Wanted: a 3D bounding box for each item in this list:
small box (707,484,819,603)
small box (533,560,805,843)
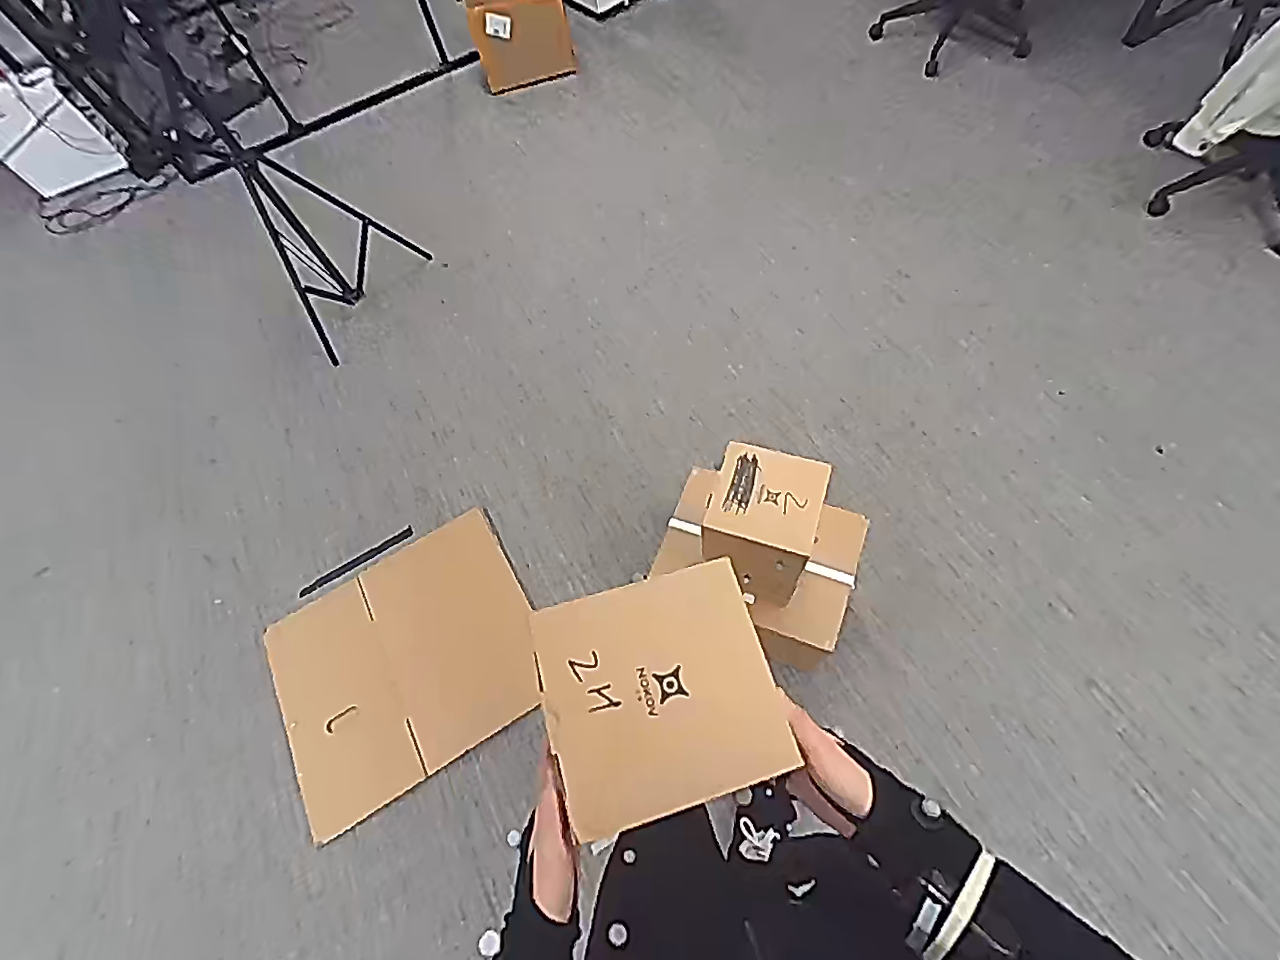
[{"bbox_3d":[0.241,0.133,1.085,0.179,0.176,0.168,15,68,14],"label":"small box"},{"bbox_3d":[0.014,0.189,0.485,0.179,0.176,0.168,-14,68,-9],"label":"small box"}]
